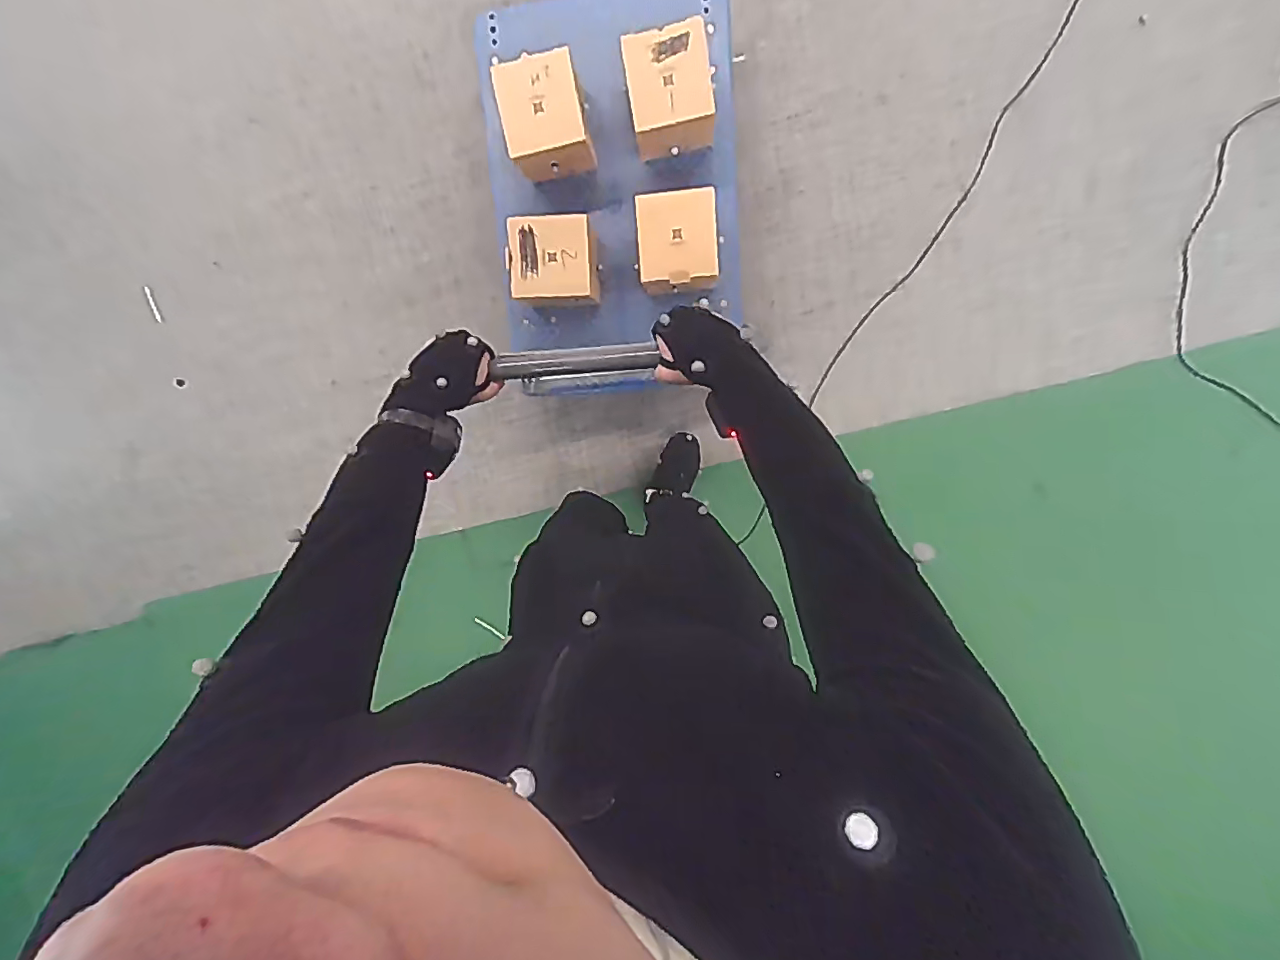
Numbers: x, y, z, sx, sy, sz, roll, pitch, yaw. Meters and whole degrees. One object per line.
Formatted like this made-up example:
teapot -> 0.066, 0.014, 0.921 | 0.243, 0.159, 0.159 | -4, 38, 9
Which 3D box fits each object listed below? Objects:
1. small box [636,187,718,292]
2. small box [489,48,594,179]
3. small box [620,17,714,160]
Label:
small box -> 0.082, -0.527, 1.206 | 0.168, 0.176, 0.179 | -4, 102, 5
small box -> -0.204, -0.776, 1.171 | 0.168, 0.176, 0.179 | -10, 101, 6
small box -> 0.059, -0.815, 1.143 | 0.168, 0.176, 0.179 | -9, 103, 7
